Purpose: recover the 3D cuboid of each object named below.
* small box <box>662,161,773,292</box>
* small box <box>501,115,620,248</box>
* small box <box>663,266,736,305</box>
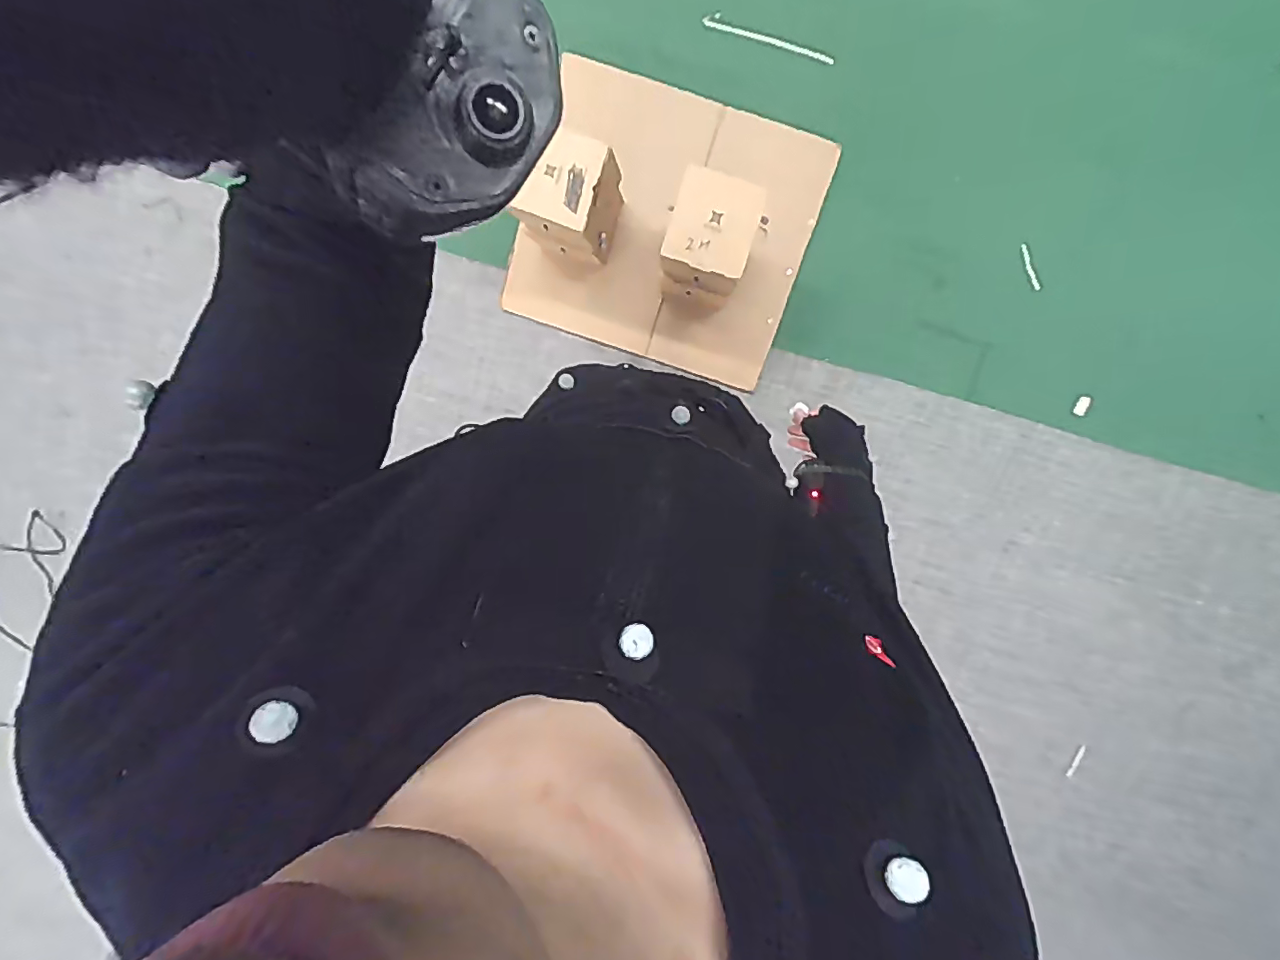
[{"bbox_3d":[0.149,-0.502,1.096,0.168,0.176,0.179,19,102,1],"label":"small box"},{"bbox_3d":[-0.152,-0.590,1.096,0.179,0.176,0.168,21,102,2],"label":"small box"},{"bbox_3d":[0.156,-0.524,1.260,0.168,0.176,0.179,16,103,0],"label":"small box"}]
